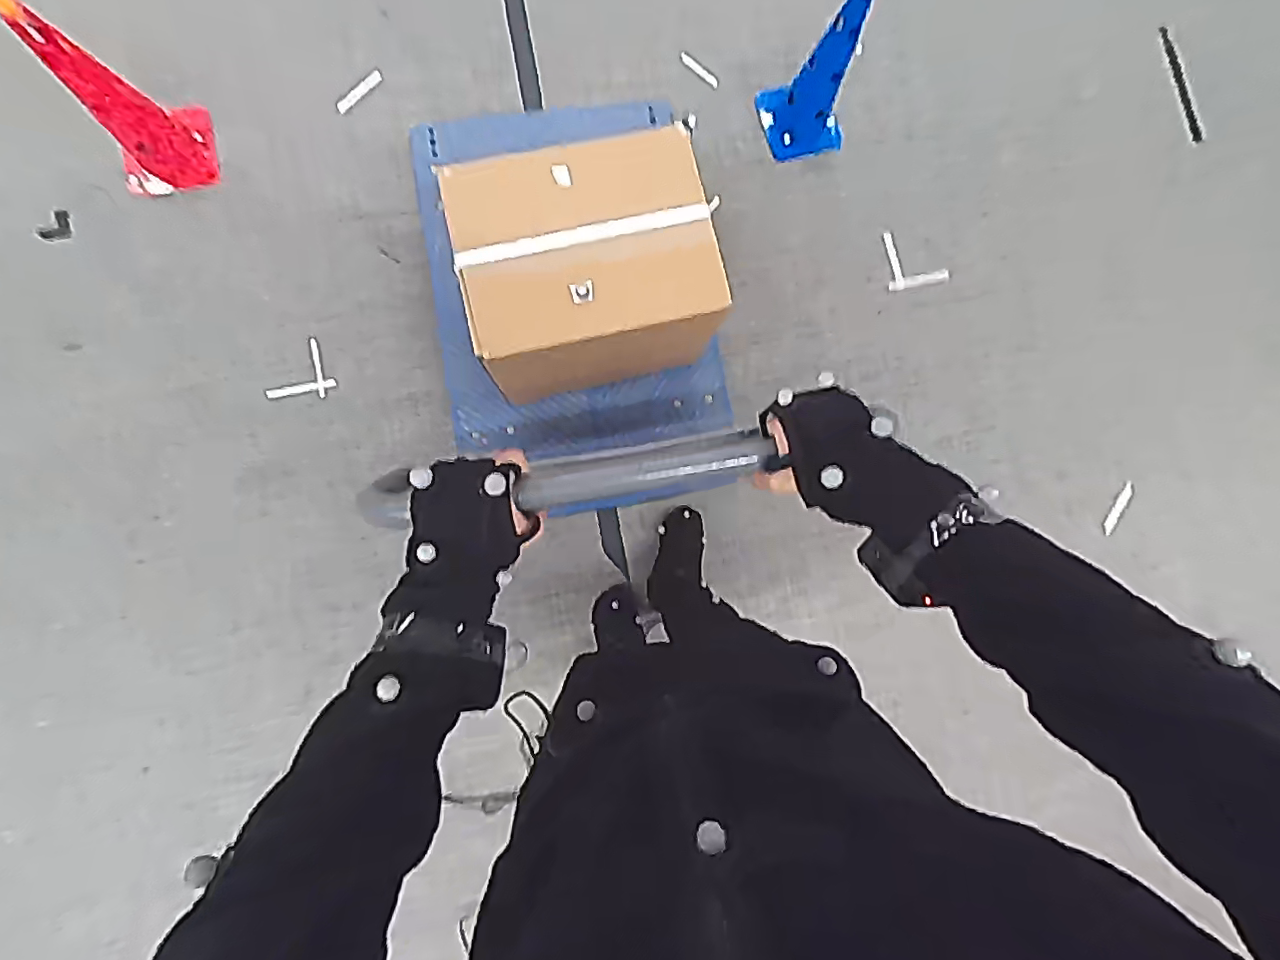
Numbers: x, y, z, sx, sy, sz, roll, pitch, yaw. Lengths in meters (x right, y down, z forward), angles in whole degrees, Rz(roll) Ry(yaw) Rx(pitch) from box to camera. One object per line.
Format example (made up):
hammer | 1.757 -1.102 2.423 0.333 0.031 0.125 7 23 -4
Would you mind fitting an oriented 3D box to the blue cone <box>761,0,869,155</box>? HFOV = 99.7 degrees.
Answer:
blue cone | 0.440 -0.967 1.258 0.193 0.380 0.192 -15 85 -7
